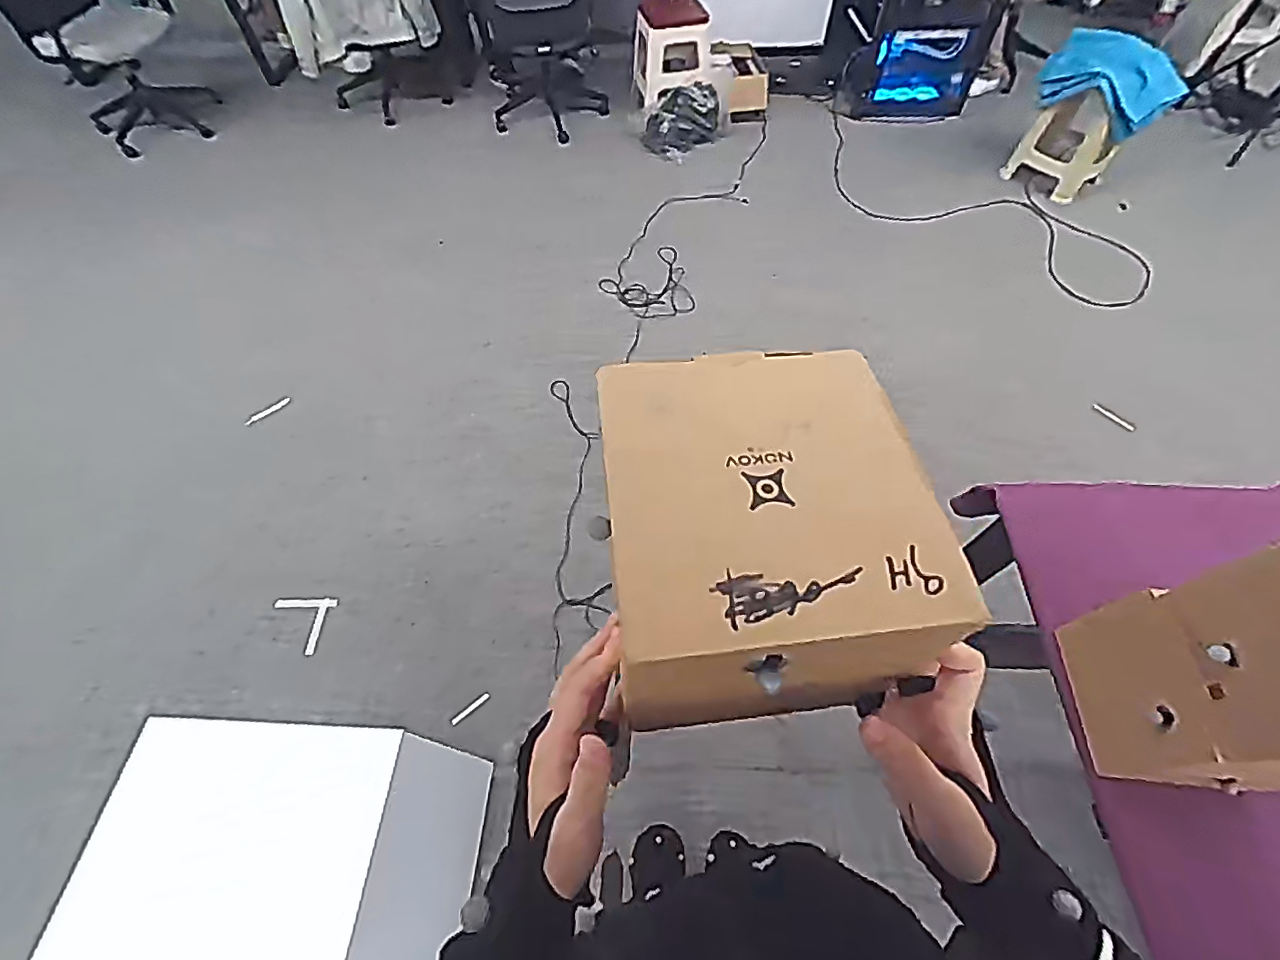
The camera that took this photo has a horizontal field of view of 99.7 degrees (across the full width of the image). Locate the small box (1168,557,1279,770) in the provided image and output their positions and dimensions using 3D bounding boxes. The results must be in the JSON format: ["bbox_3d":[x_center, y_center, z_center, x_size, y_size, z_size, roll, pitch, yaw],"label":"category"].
[{"bbox_3d":[0.634,0.157,0.463,0.179,0.176,0.168,4,58,5],"label":"small box"}]

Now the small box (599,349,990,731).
[{"bbox_3d":[0.062,0.042,0.343,0.168,0.176,0.179,-5,56,-5],"label":"small box"}]

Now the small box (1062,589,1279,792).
[{"bbox_3d":[0.629,0.241,0.605,0.168,0.176,0.179,5,58,4],"label":"small box"}]
